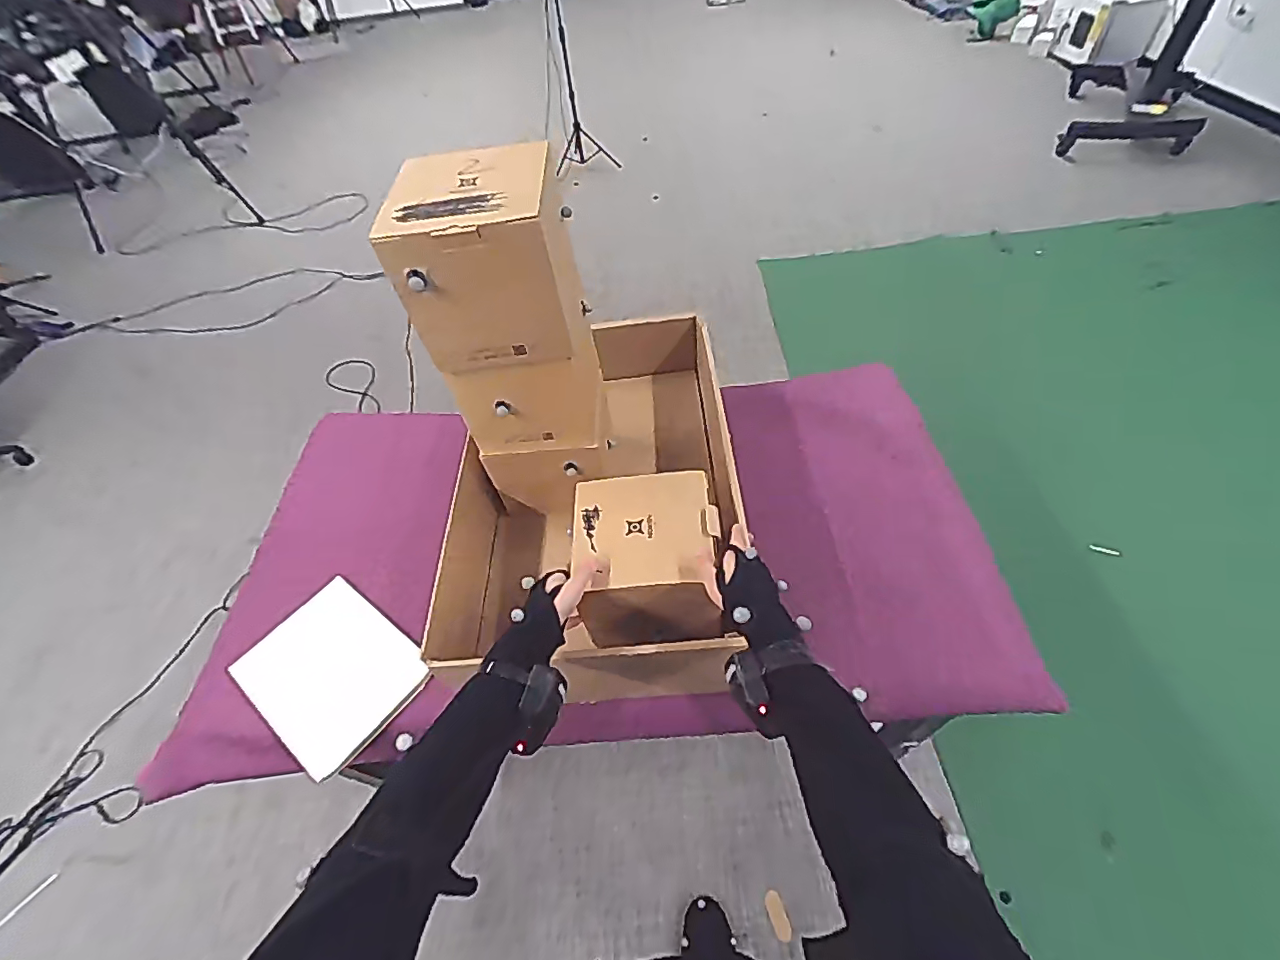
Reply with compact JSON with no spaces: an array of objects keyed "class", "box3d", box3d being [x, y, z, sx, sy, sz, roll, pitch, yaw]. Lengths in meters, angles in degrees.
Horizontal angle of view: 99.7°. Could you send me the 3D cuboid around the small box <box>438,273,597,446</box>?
[{"class":"small box","box3d":[-0.156,-0.159,0.755,0.168,0.176,0.179,-4,52,4]}]
